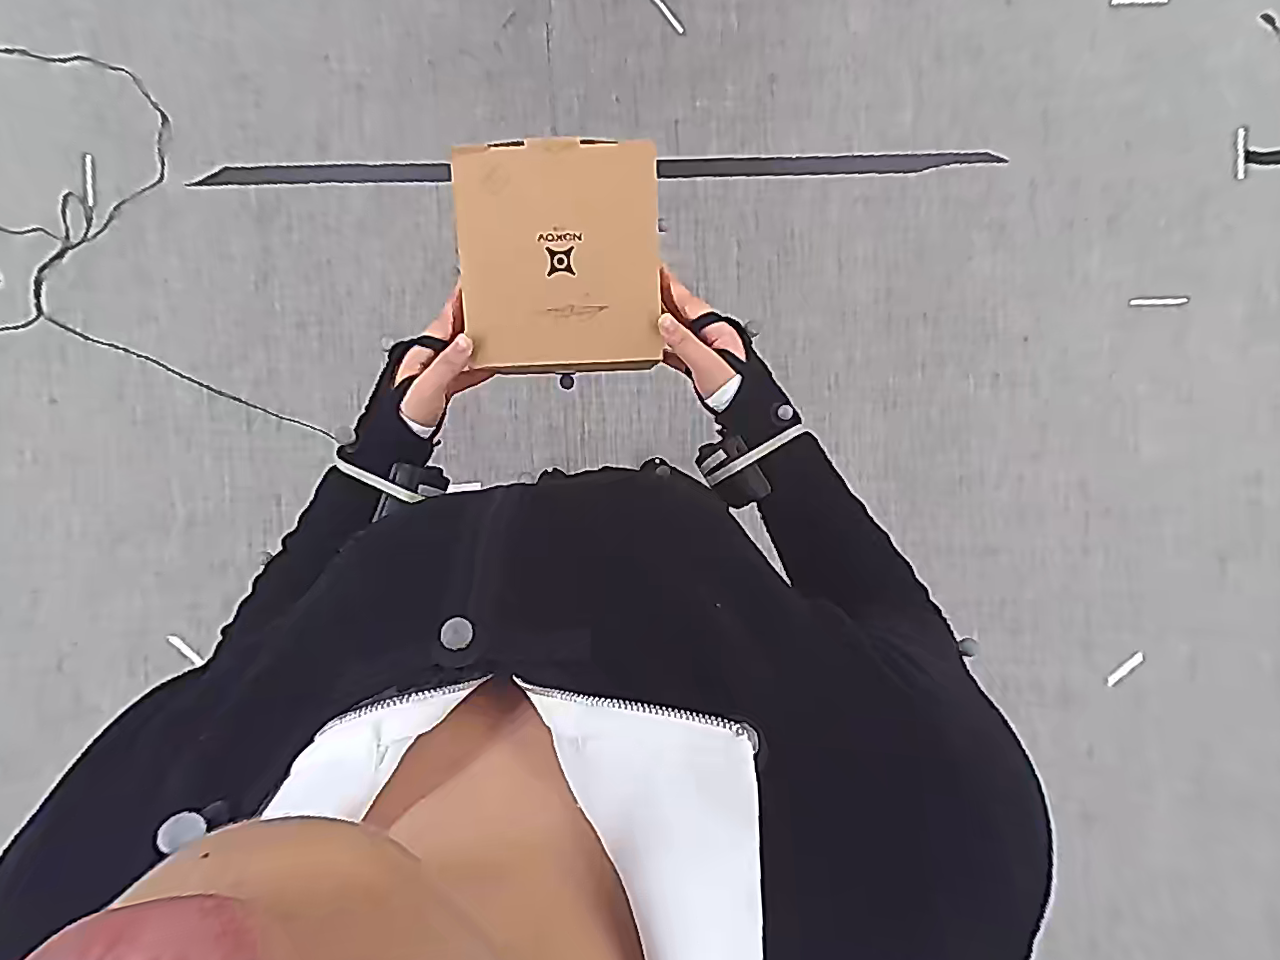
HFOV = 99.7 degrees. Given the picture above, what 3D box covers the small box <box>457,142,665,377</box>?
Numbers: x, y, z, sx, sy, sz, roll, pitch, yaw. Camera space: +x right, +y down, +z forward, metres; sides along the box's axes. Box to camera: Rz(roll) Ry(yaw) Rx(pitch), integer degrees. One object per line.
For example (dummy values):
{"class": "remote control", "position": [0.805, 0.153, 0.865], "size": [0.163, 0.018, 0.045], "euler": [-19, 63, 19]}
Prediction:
{"class": "small box", "position": [-0.067, -0.194, 0.522], "size": [0.168, 0.176, 0.179], "euler": [-3, 99, -2]}
